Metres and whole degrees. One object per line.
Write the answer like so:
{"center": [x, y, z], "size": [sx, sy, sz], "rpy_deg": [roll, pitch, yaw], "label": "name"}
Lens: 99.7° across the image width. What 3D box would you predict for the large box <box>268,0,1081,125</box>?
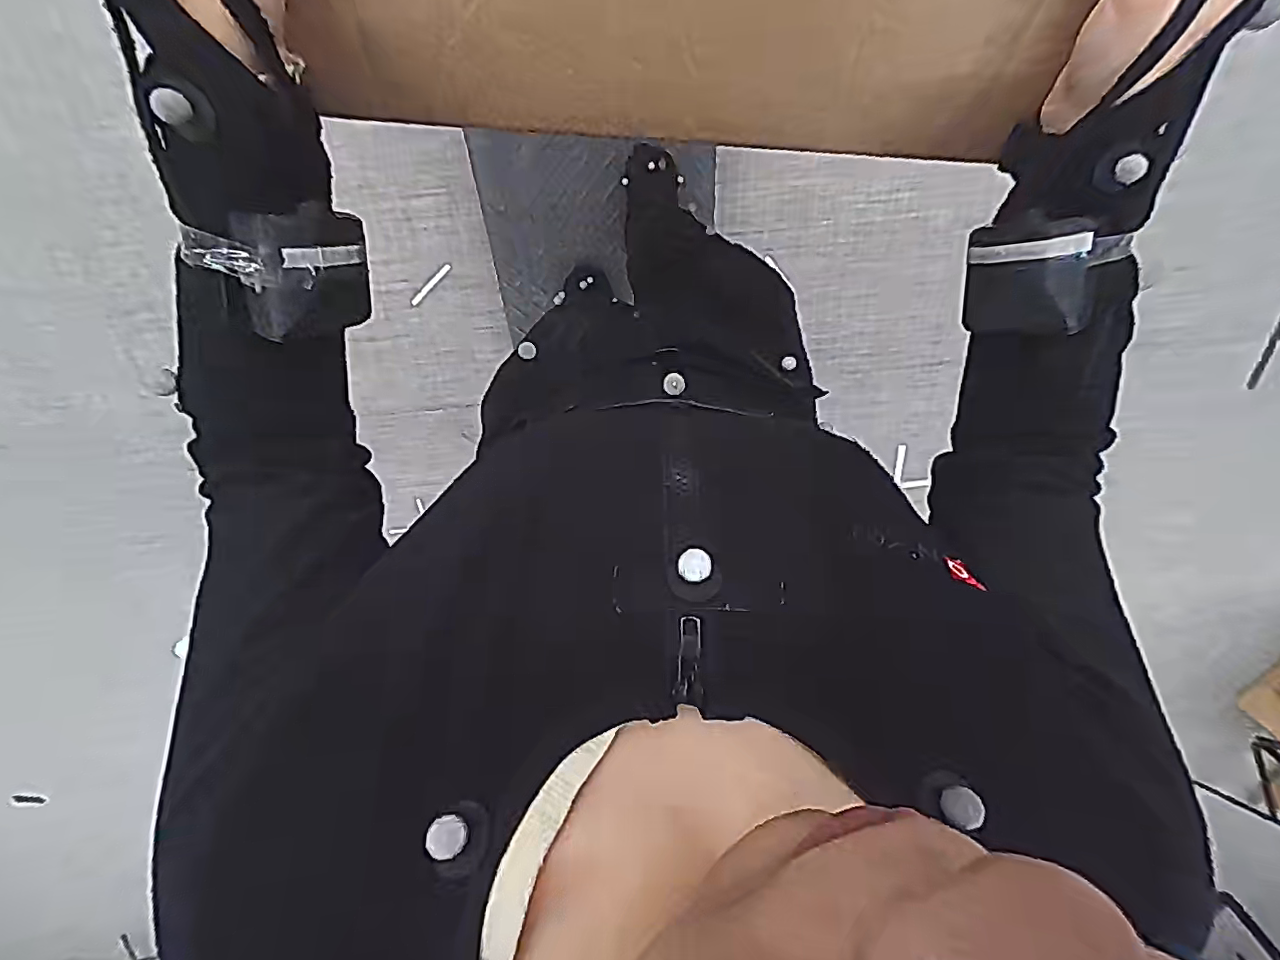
{"center": [0.020, -0.414, 0.257], "size": [0.408, 0.320, 0.320], "rpy_deg": [0, 148, -5], "label": "large box"}
